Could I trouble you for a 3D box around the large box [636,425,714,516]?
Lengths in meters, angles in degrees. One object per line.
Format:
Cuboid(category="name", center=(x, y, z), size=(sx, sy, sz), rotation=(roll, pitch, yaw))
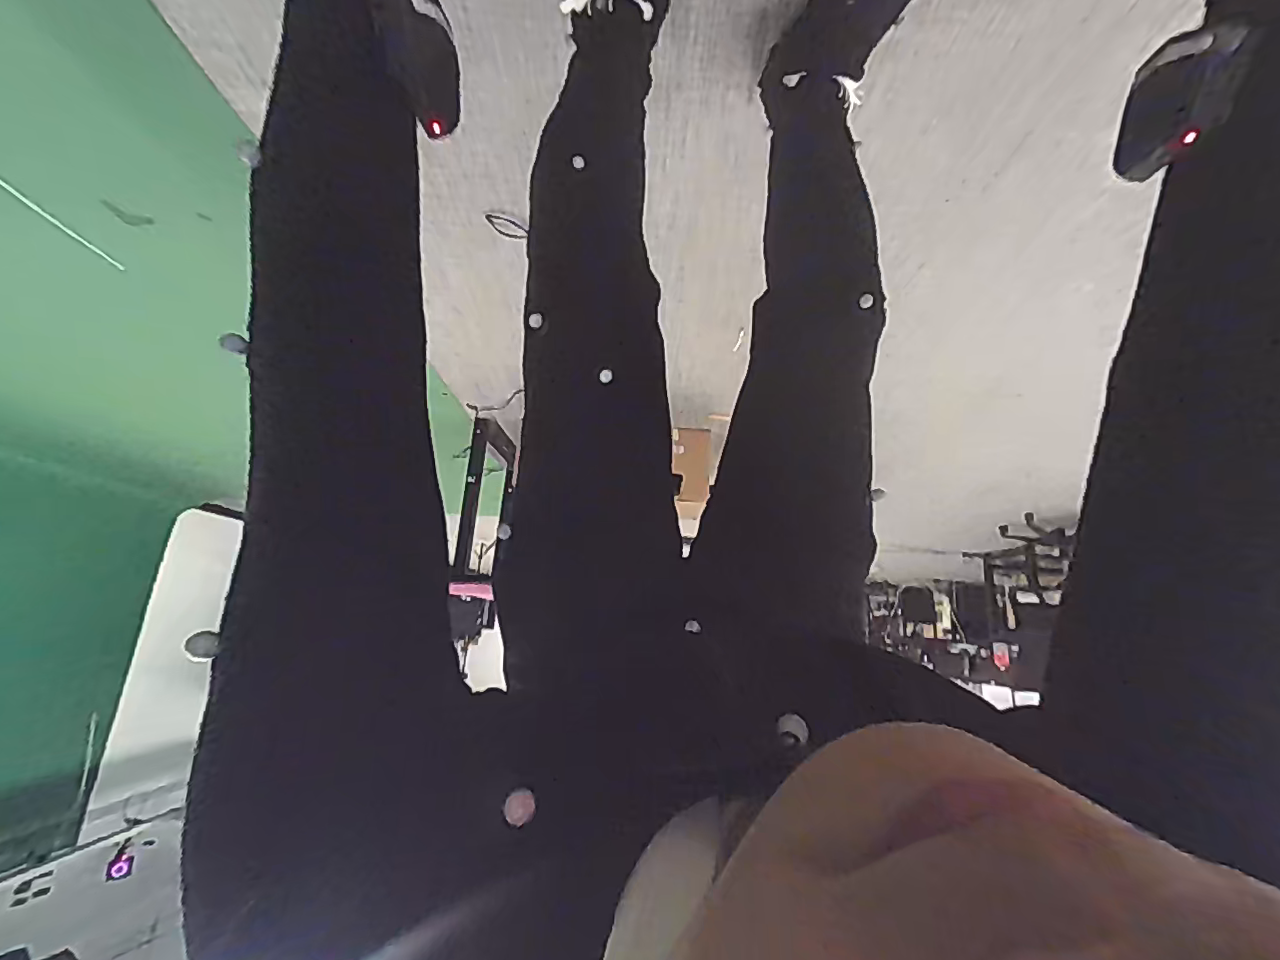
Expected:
Cuboid(category="large box", center=(0.152, -0.033, 2.403), size=(0.320, 0.320, 0.408), rotation=(4, 166, 1))
